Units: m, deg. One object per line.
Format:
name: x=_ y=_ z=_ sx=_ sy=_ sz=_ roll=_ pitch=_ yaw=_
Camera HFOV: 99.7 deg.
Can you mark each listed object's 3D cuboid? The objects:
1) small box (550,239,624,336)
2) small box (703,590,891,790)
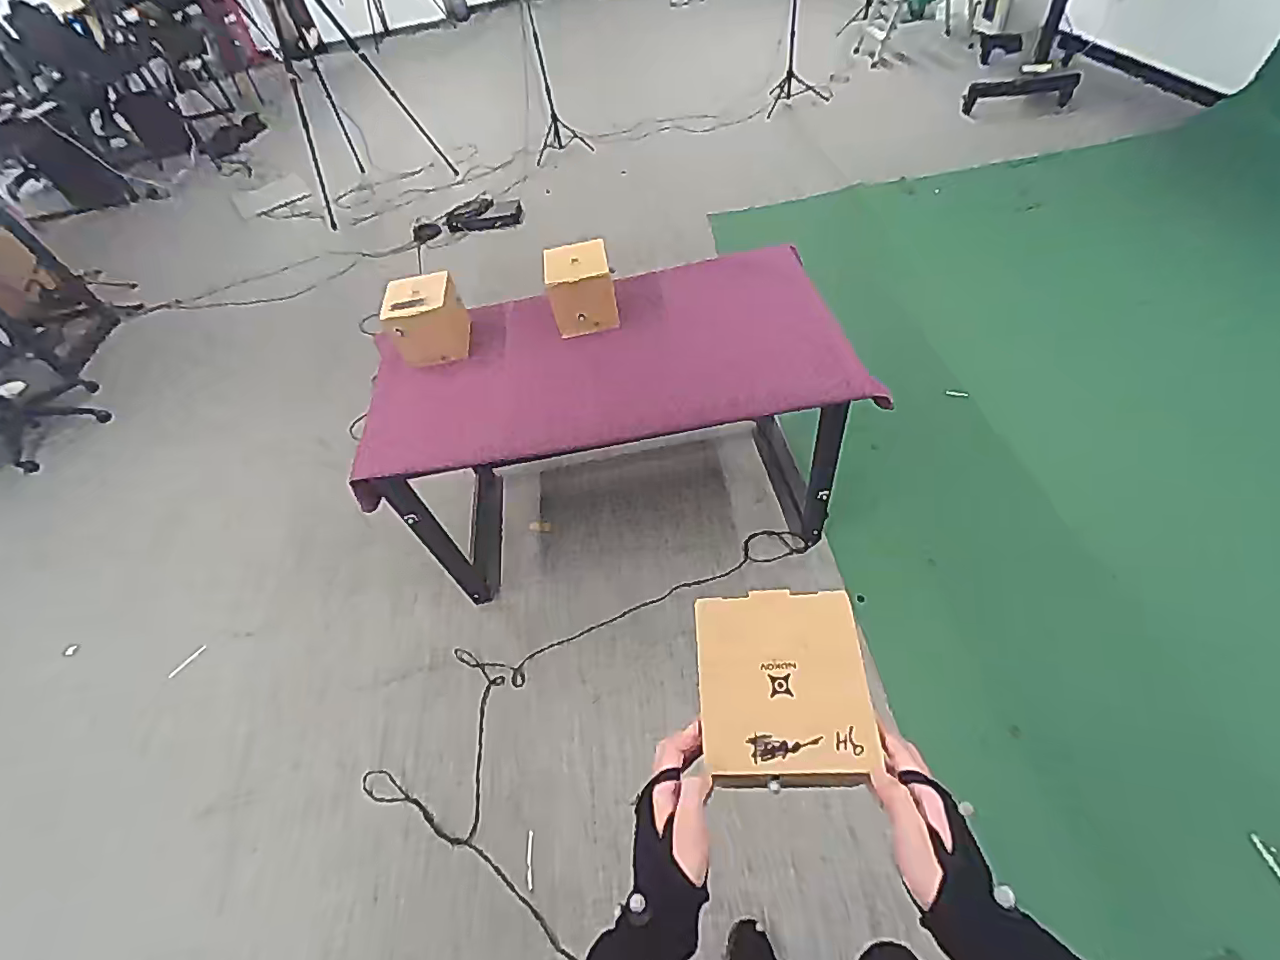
small box: x=-0.142 y=-0.516 z=1.458 sx=0.168 sy=0.176 sz=0.179 roll=-10 pitch=52 yaw=1
small box: x=0.158 y=0.237 z=0.602 sx=0.168 sy=0.176 sz=0.179 roll=-4 pitch=57 yaw=9
